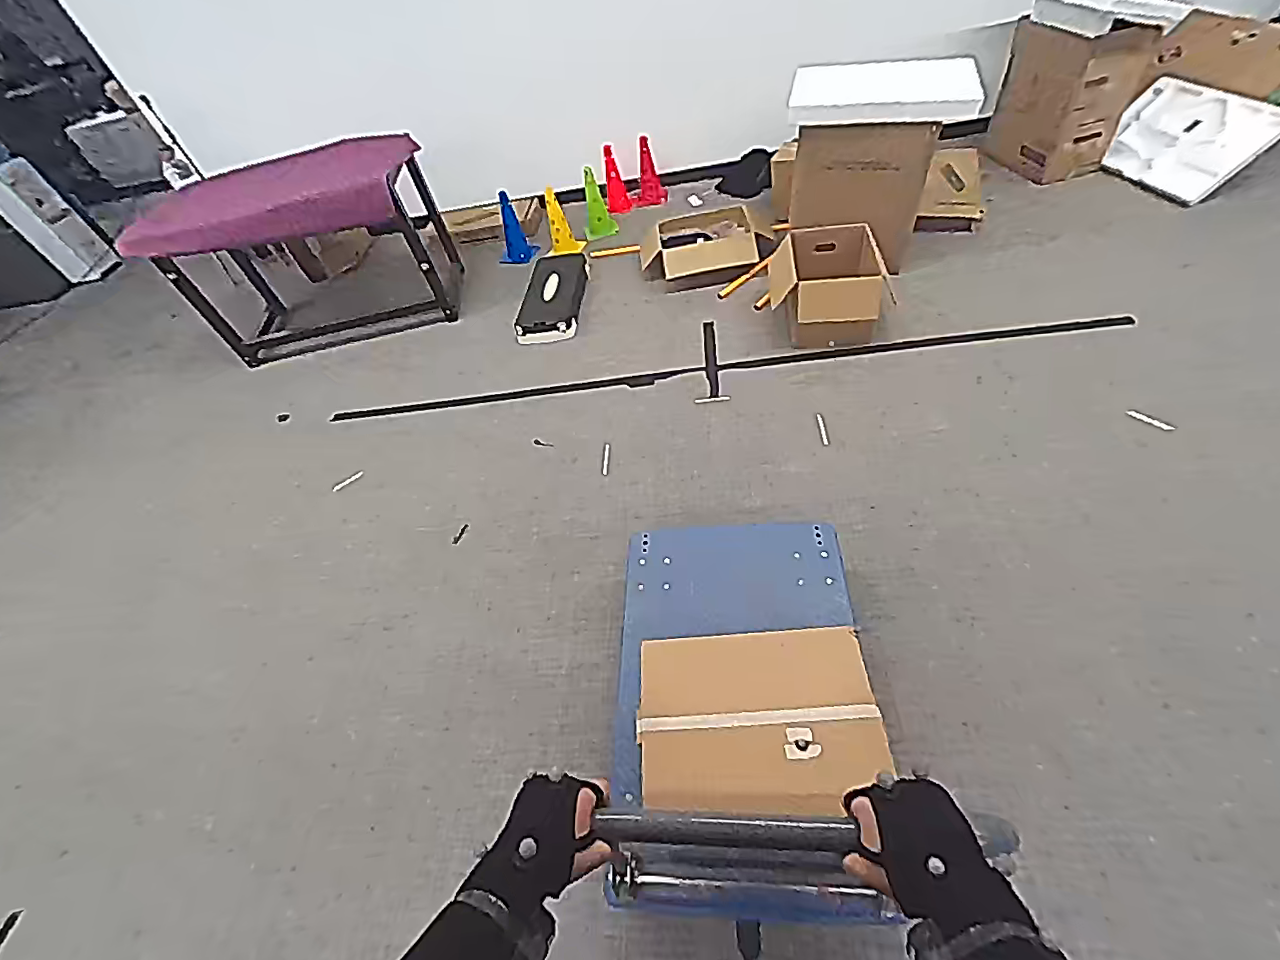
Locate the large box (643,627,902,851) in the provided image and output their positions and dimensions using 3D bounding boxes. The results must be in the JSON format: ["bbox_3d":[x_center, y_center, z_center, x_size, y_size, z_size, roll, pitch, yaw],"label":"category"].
[{"bbox_3d":[0.227,0.513,1.057,0.408,0.320,0.320,-6,50,6],"label":"large box"}]
